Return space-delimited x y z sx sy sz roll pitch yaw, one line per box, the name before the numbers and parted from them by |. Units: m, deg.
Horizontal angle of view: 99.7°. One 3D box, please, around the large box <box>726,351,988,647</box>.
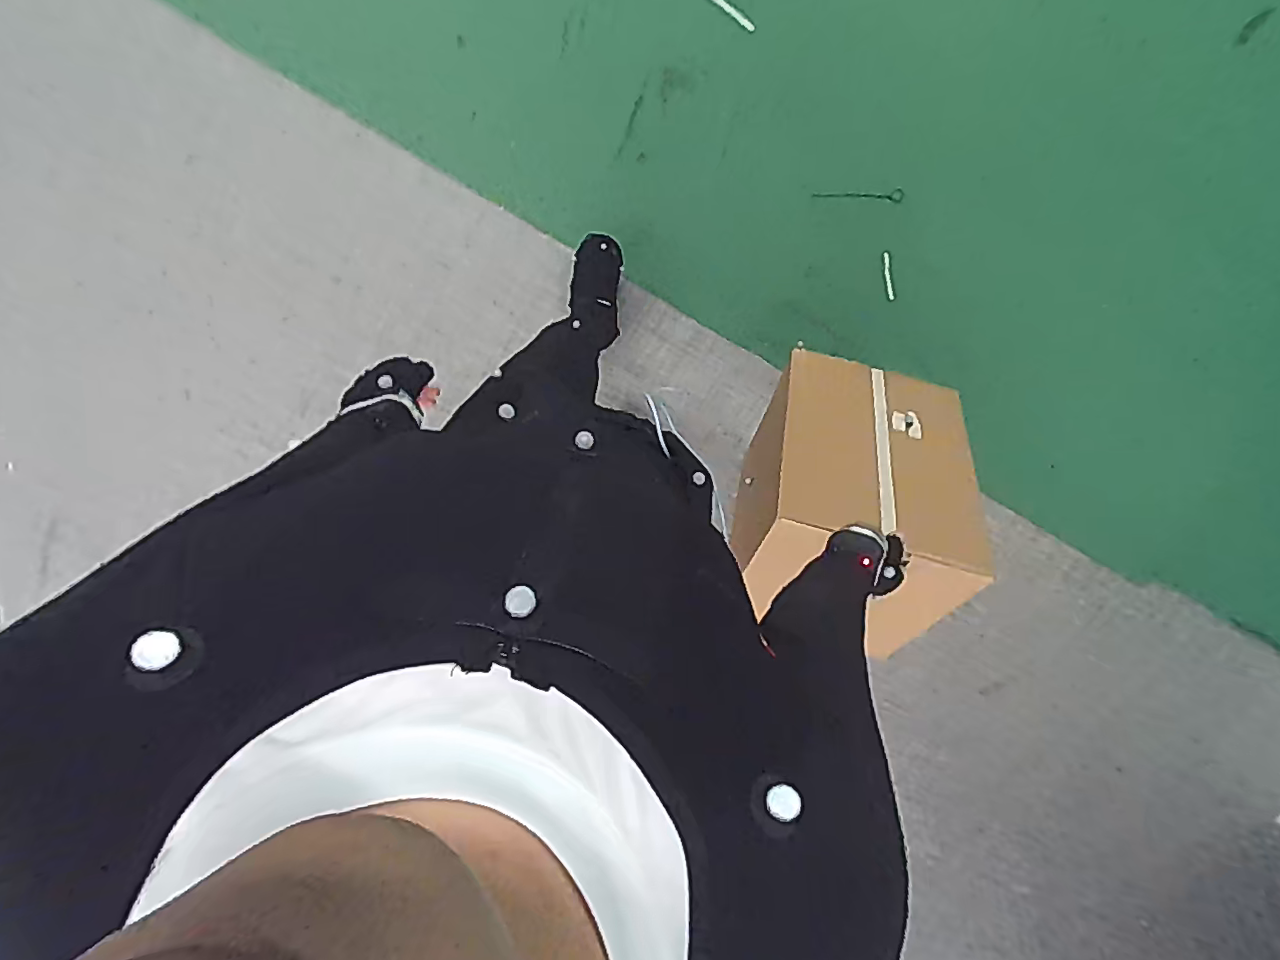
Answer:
large box | 0.363 0.034 1.000 0.320 0.408 0.320 17 140 2
